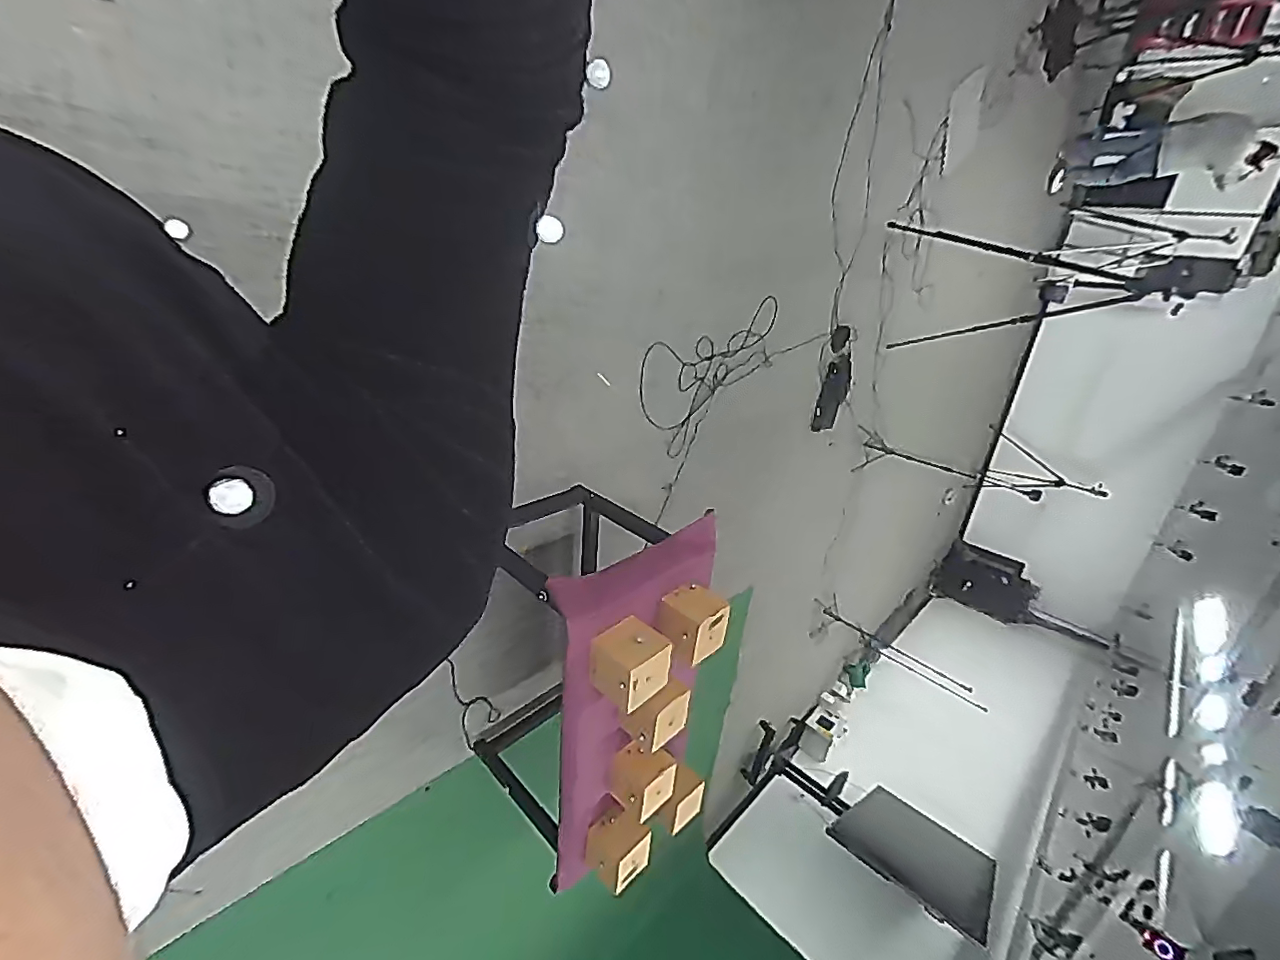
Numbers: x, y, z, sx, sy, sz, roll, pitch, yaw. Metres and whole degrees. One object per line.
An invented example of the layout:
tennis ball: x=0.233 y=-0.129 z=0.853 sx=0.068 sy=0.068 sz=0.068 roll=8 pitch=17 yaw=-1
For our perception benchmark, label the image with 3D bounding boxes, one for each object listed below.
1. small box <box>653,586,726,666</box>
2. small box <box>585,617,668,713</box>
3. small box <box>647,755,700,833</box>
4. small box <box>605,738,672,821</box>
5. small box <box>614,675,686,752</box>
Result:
small box: x=0.161 y=0.474 z=1.803 sx=0.168 sy=0.176 sz=0.179 roll=-17 pitch=124 yaw=-43
small box: x=-0.041 y=0.539 z=1.604 sx=0.179 sy=0.176 sz=0.168 roll=-21 pitch=125 yaw=-43
small box: x=0.117 y=1.266 z=2.193 sx=0.168 sy=0.176 sz=0.179 roll=-15 pitch=120 yaw=-43
small box: x=-0.010 y=1.055 z=1.935 sx=0.168 sy=0.176 sz=0.179 roll=-17 pitch=121 yaw=-43
small box: x=0.029 y=0.754 z=1.808 sx=0.168 sy=0.176 sz=0.179 roll=-17 pitch=123 yaw=-44
